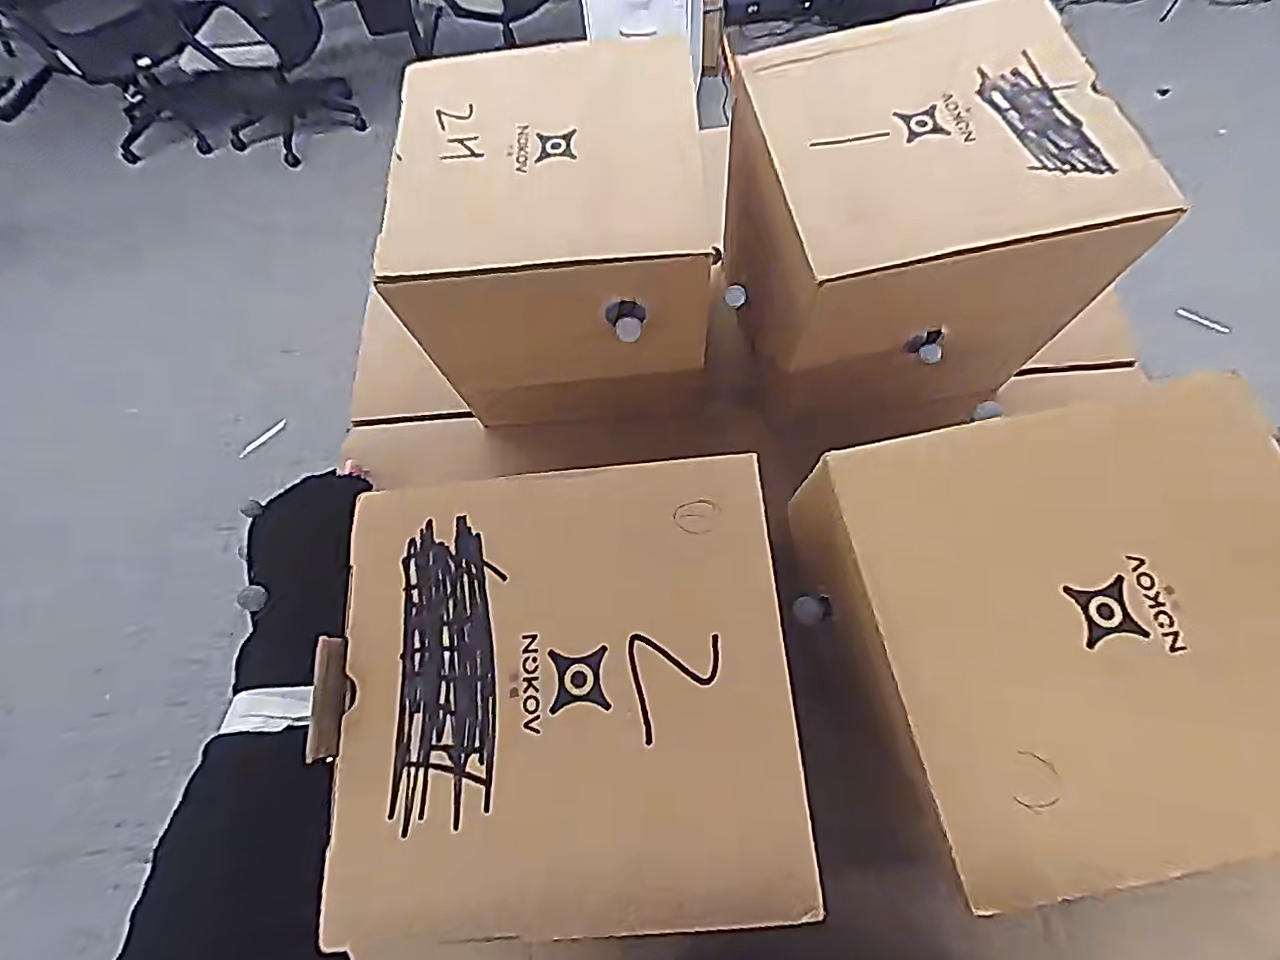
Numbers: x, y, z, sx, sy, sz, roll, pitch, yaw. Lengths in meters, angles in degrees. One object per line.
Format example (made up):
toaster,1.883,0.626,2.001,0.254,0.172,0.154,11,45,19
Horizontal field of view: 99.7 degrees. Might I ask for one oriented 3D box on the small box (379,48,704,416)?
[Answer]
small box,-0.049,-0.157,0.386,0.179,0.176,0.168,-3,69,5
